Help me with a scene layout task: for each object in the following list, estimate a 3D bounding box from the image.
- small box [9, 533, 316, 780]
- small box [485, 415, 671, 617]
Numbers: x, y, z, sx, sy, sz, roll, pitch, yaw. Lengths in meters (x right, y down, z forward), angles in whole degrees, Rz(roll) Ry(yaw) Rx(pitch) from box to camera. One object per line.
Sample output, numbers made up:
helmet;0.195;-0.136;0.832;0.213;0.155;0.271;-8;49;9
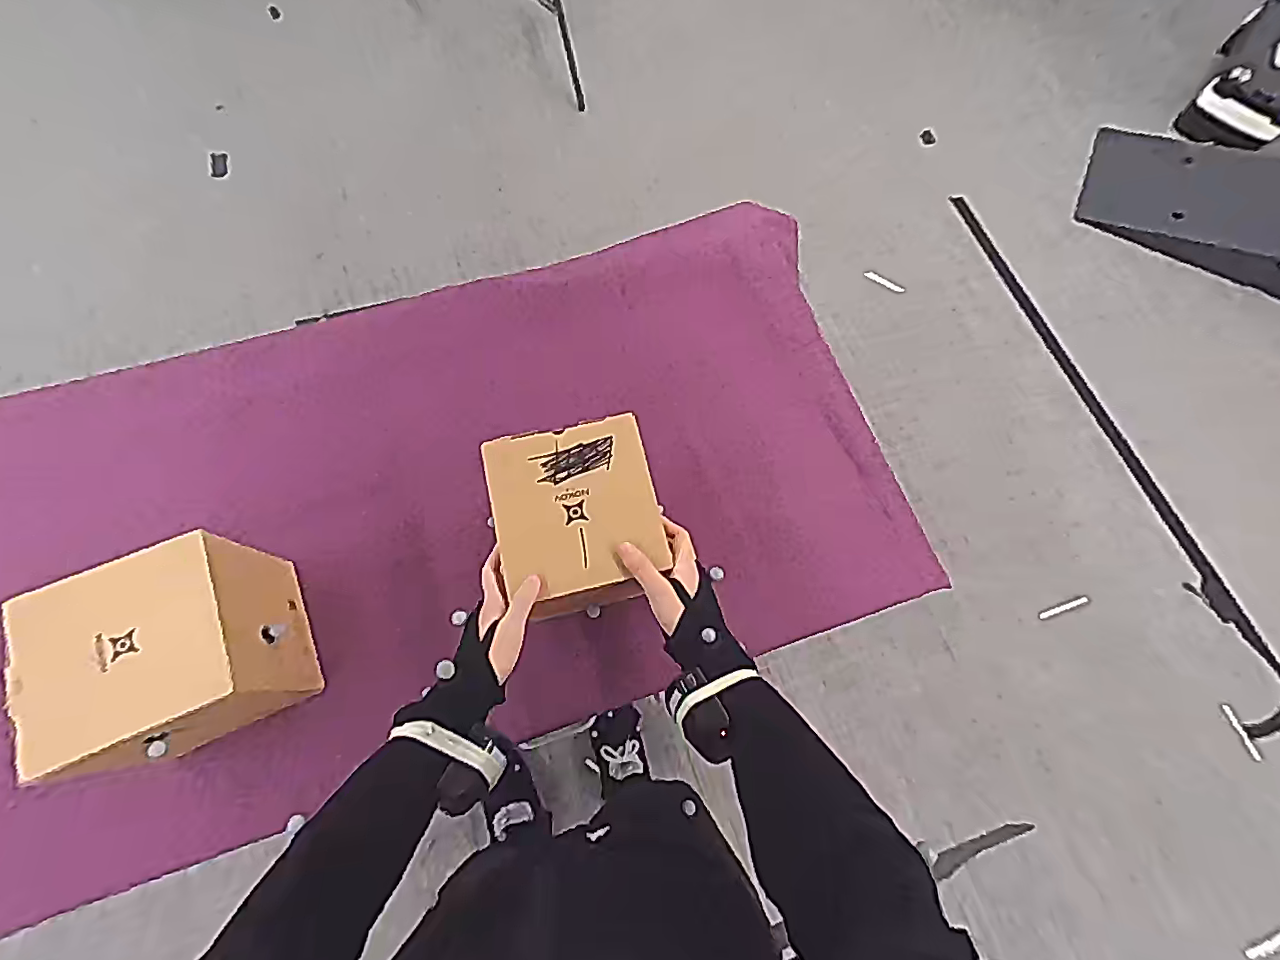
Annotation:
small box;-0.472;0.176;0.566;0.179;0.176;0.168;-23;74;-10
small box;-0.071;0.049;0.627;0.168;0.176;0.179;-12;73;-7
